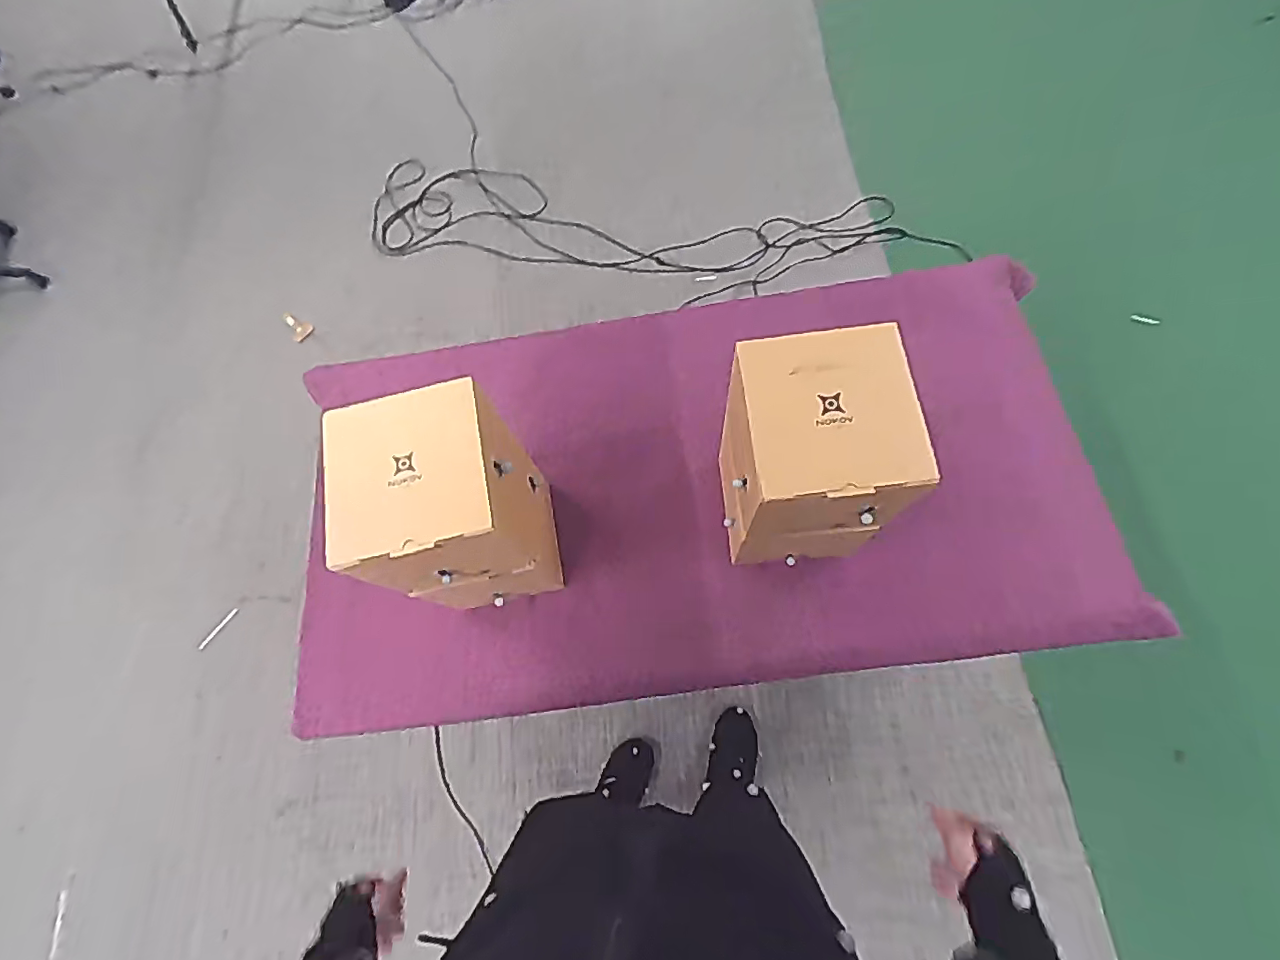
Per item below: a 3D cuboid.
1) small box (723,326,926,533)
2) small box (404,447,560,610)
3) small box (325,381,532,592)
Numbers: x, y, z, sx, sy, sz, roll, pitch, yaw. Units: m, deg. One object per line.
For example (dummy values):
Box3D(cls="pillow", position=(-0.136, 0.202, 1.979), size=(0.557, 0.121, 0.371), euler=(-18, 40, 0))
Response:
Box3D(cls="small box", position=(0.187, -0.043, 0.606), size=(0.168, 0.176, 0.179), euler=(-6, 70, 3))
Box3D(cls="small box", position=(-0.222, 0.077, 0.777), size=(0.168, 0.176, 0.179), euler=(-13, 69, 1))
Box3D(cls="small box", position=(-0.235, 0.017, 0.626), size=(0.168, 0.176, 0.179), euler=(-14, 70, 0))
